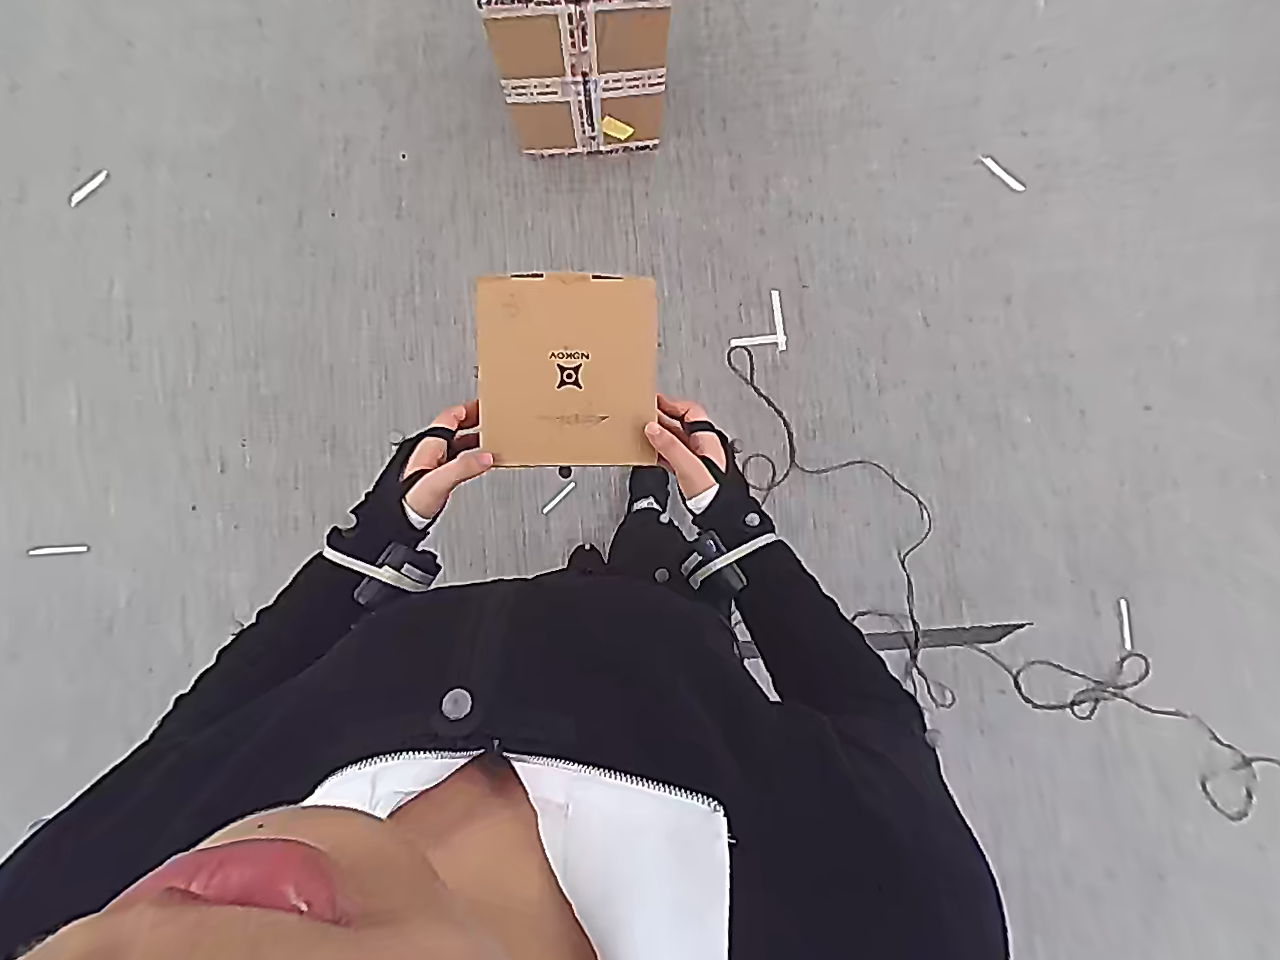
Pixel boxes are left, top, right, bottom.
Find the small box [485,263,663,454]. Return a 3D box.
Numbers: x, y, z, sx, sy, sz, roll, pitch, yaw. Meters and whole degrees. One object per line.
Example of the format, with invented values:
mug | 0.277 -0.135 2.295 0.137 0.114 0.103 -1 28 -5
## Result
small box | -0.067 -0.117 0.581 0.168 0.176 0.179 -1 95 -4
